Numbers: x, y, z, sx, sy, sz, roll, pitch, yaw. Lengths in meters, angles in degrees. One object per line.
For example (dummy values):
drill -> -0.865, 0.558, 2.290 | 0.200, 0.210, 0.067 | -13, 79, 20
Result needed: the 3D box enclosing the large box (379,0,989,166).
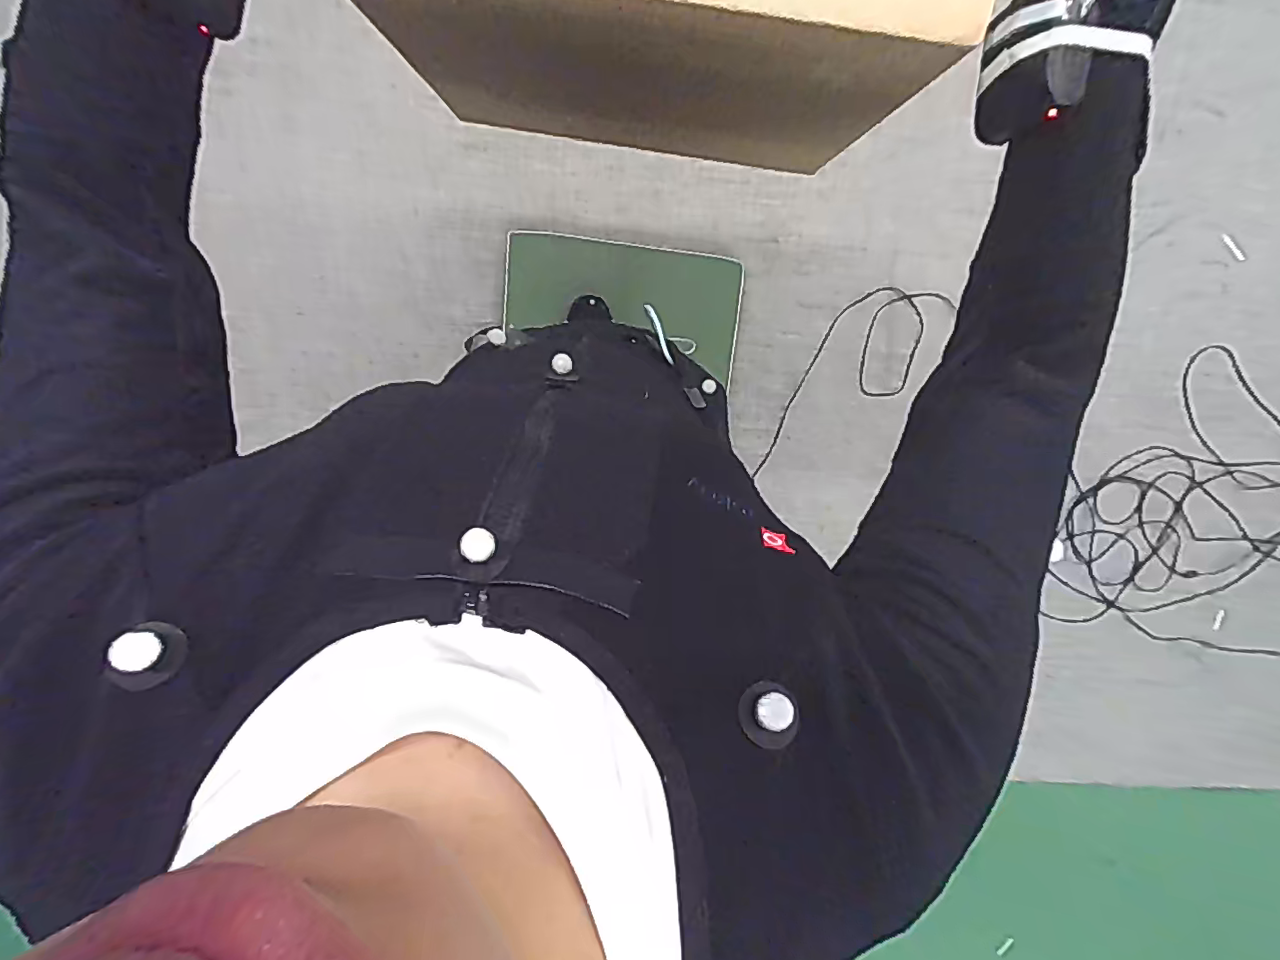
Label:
large box -> 0.026, -0.479, 0.425 | 0.408, 0.320, 0.320 | 6, 107, -4
